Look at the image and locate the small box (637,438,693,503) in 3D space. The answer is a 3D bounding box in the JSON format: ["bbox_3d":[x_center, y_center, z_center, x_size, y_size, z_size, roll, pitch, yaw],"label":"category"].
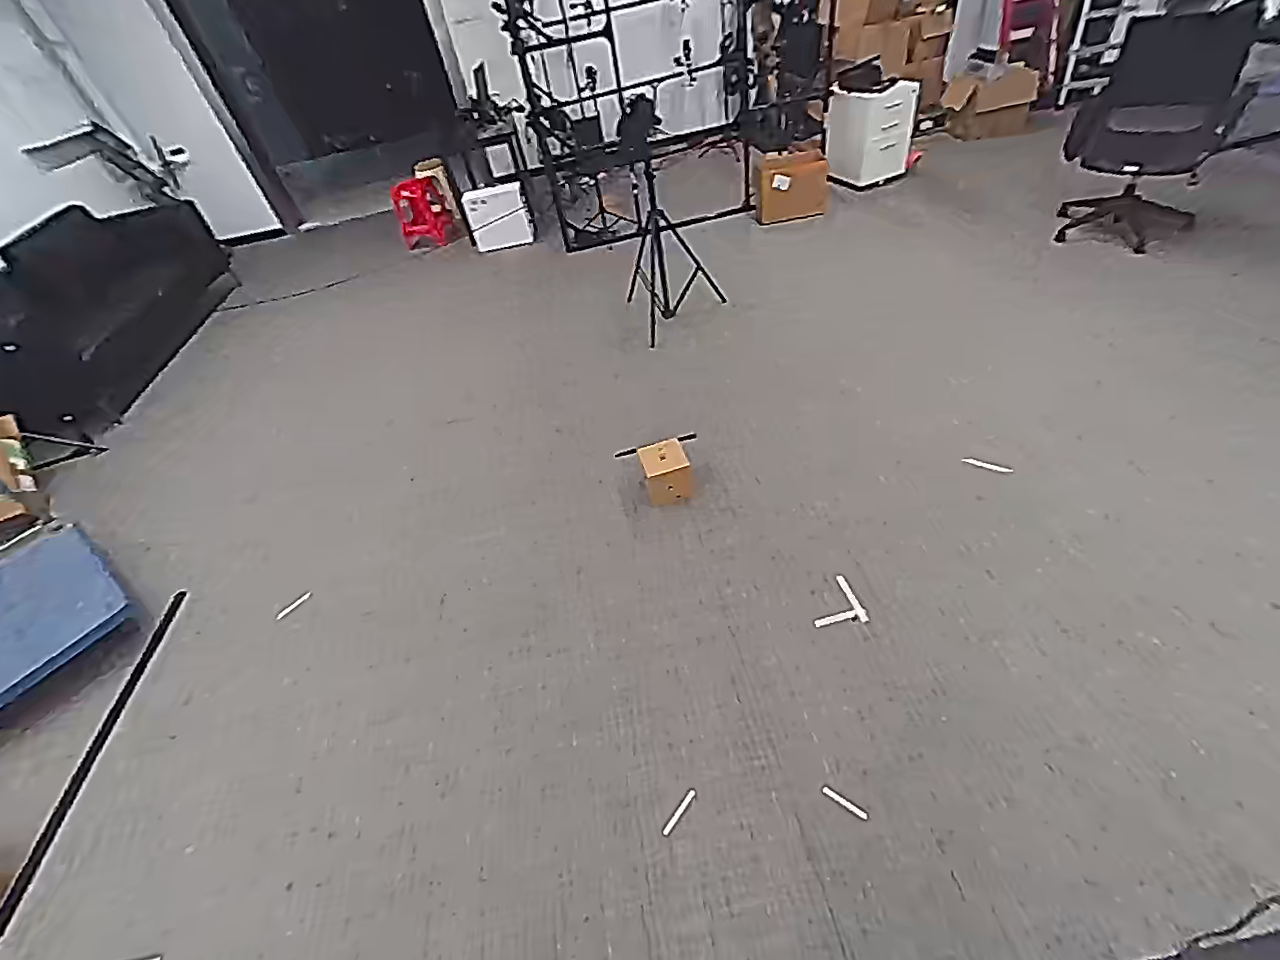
[{"bbox_3d":[0.098,-0.030,2.088,0.168,0.176,0.179,-16,43,-4],"label":"small box"}]
